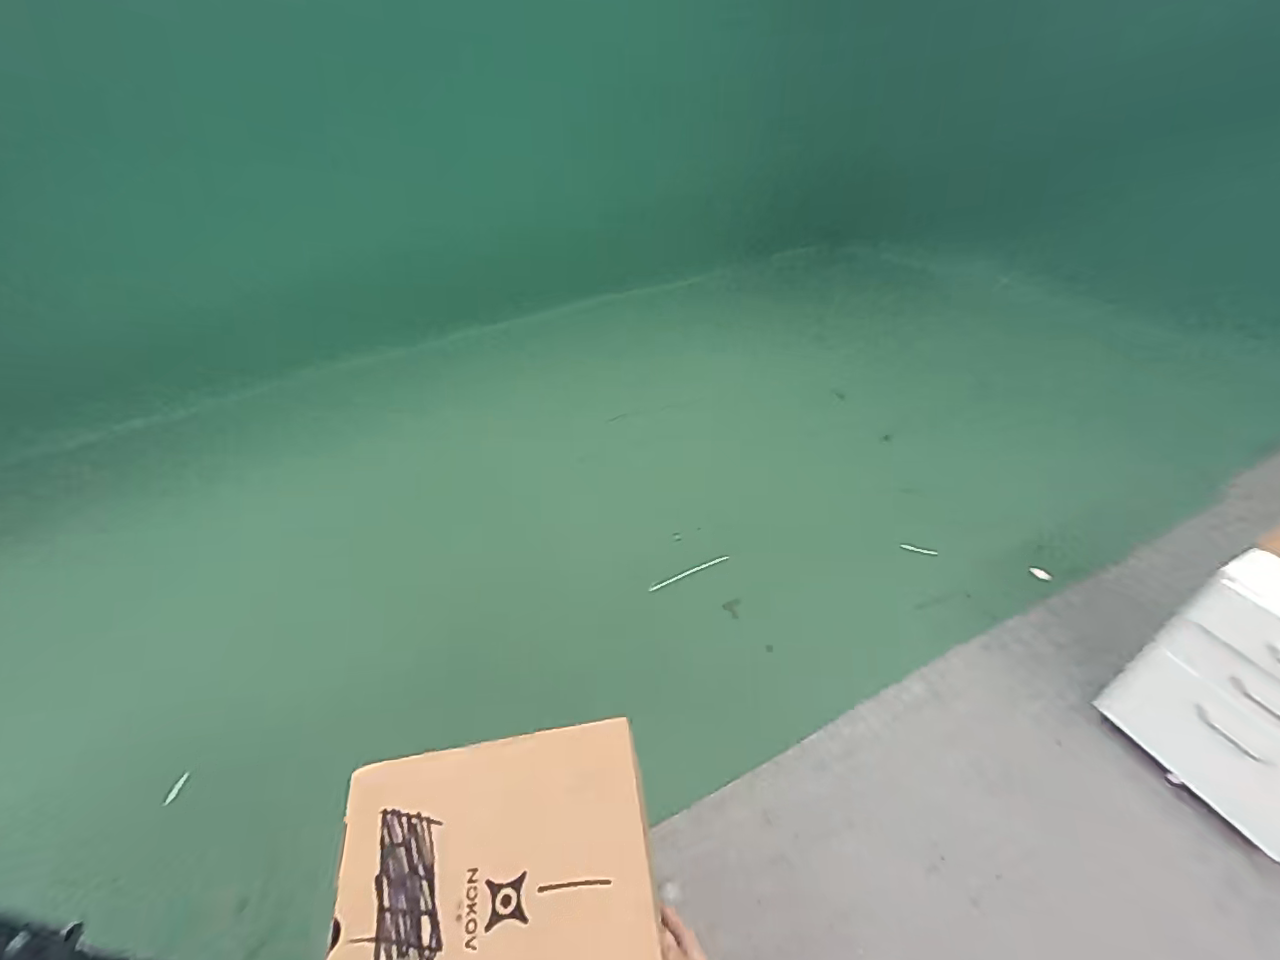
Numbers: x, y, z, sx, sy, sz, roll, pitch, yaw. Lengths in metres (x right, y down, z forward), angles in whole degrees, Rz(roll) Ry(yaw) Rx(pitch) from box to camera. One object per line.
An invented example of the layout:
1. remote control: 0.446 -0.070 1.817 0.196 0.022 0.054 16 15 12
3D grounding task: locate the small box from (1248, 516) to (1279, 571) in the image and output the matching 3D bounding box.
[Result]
1. small box: 1.355 0.114 1.035 0.168 0.176 0.179 -20 43 -17
